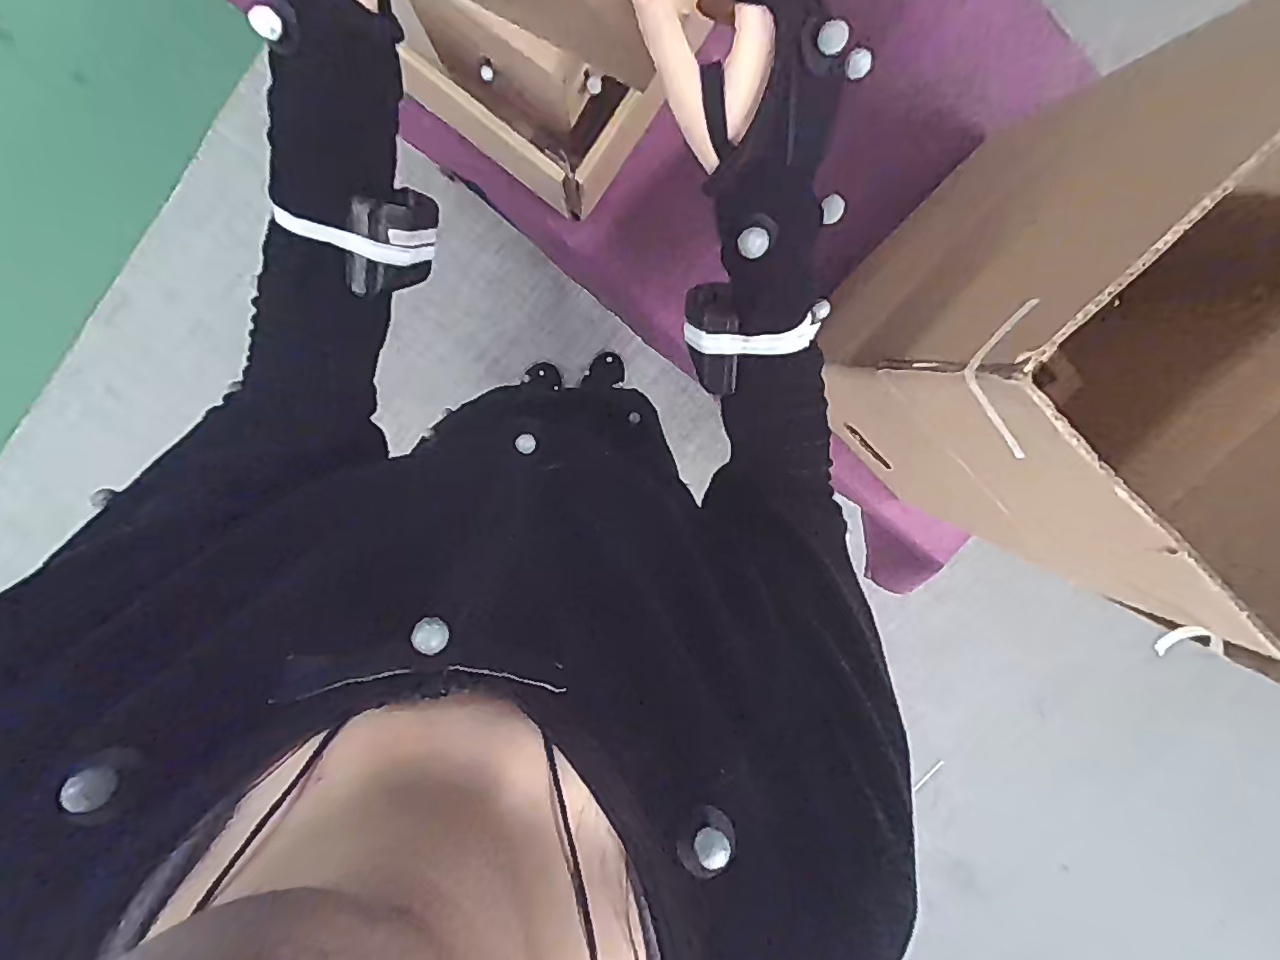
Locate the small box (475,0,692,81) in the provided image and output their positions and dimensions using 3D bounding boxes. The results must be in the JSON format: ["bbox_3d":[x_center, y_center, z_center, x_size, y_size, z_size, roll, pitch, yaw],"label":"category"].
[{"bbox_3d":[-0.034,-0.355,0.289,0.179,0.176,0.168,19,112,-16],"label":"small box"}]
